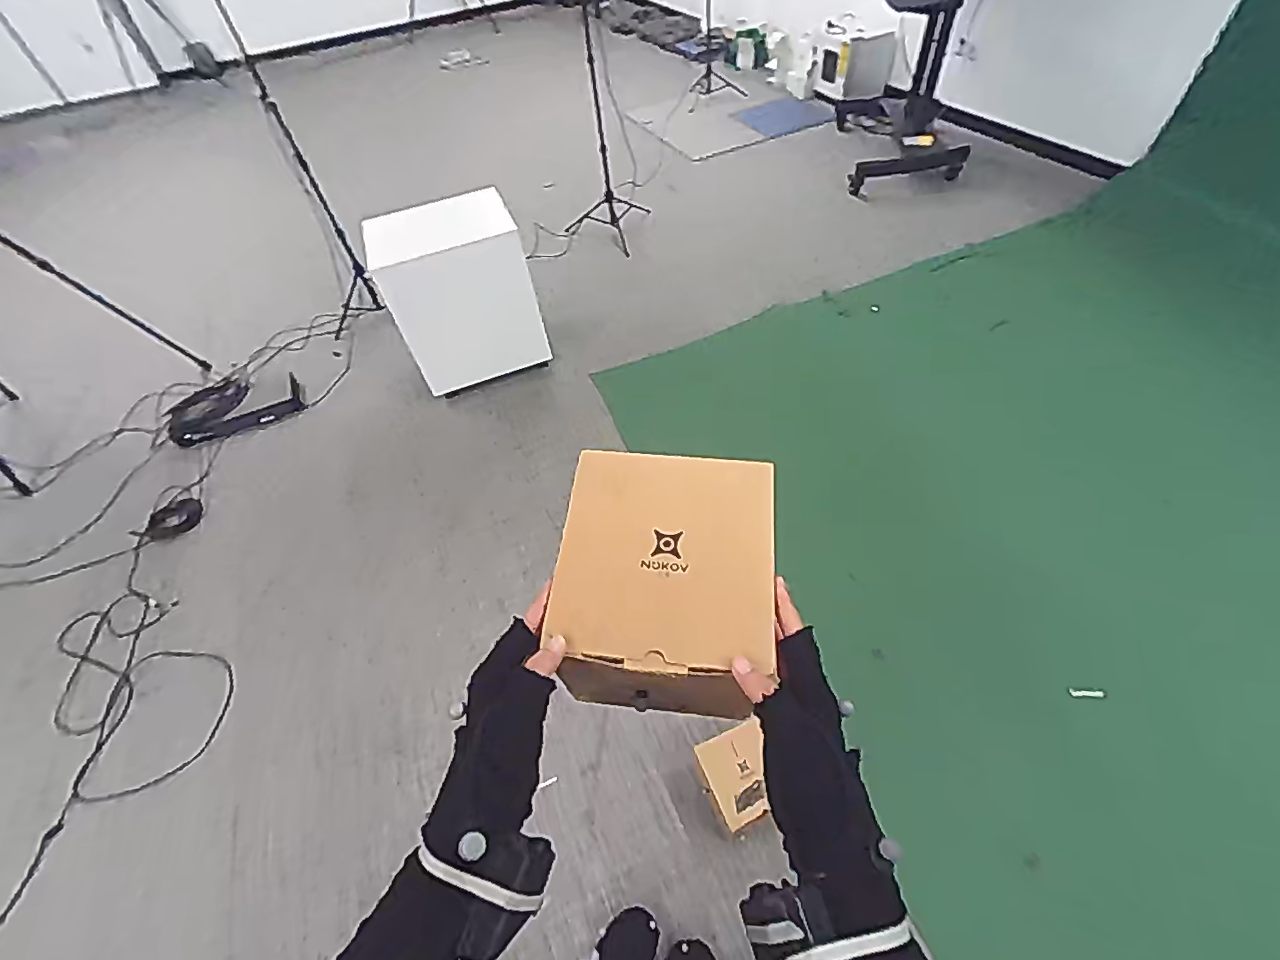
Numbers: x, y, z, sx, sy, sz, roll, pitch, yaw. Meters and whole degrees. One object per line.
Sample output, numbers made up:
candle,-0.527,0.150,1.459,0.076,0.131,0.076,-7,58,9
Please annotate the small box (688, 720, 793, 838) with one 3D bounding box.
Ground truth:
small box,0.220,0.680,1.220,0.168,0.176,0.179,-21,51,-11

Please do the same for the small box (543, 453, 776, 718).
small box,0.024,0.098,0.484,0.168,0.176,0.179,4,58,6
